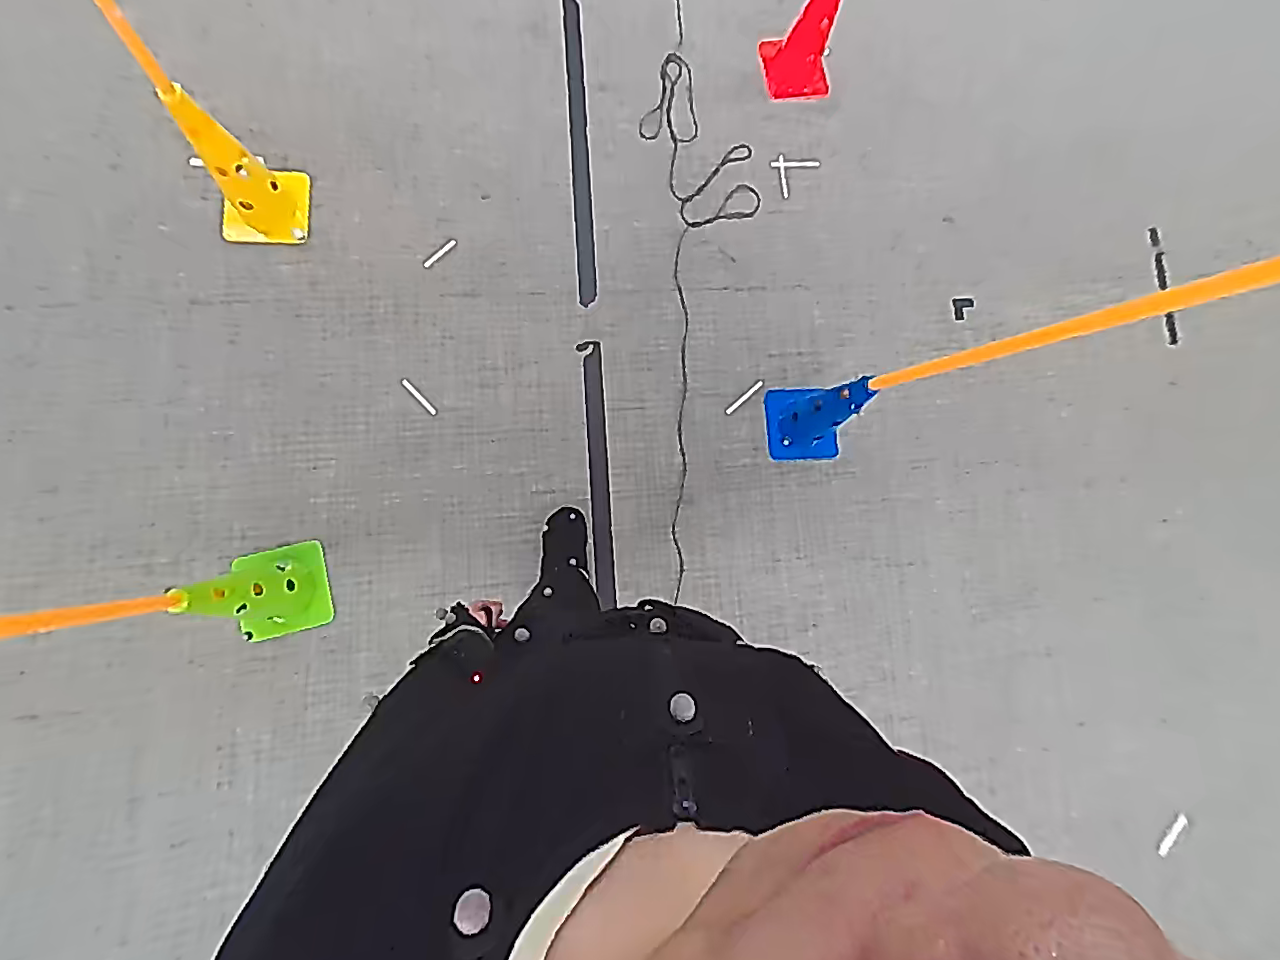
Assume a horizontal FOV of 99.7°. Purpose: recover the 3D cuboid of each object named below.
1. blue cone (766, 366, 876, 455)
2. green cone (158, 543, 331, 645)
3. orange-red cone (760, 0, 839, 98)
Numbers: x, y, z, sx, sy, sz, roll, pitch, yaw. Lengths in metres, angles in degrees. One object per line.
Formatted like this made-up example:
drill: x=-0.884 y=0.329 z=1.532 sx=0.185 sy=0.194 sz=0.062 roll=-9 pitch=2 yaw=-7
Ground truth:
blue cone: x=0.466 y=-0.187 z=1.333 sx=0.193 sy=0.380 sz=0.192 roll=-1 pitch=81 yaw=-8
green cone: x=-0.809 y=0.231 z=1.085 sx=0.200 sy=0.368 sz=0.202 roll=-14 pitch=82 yaw=-10
orange-red cone: x=0.494 y=-1.287 z=1.490 sx=0.199 sy=0.360 sz=0.198 roll=-9 pitch=82 yaw=-8
